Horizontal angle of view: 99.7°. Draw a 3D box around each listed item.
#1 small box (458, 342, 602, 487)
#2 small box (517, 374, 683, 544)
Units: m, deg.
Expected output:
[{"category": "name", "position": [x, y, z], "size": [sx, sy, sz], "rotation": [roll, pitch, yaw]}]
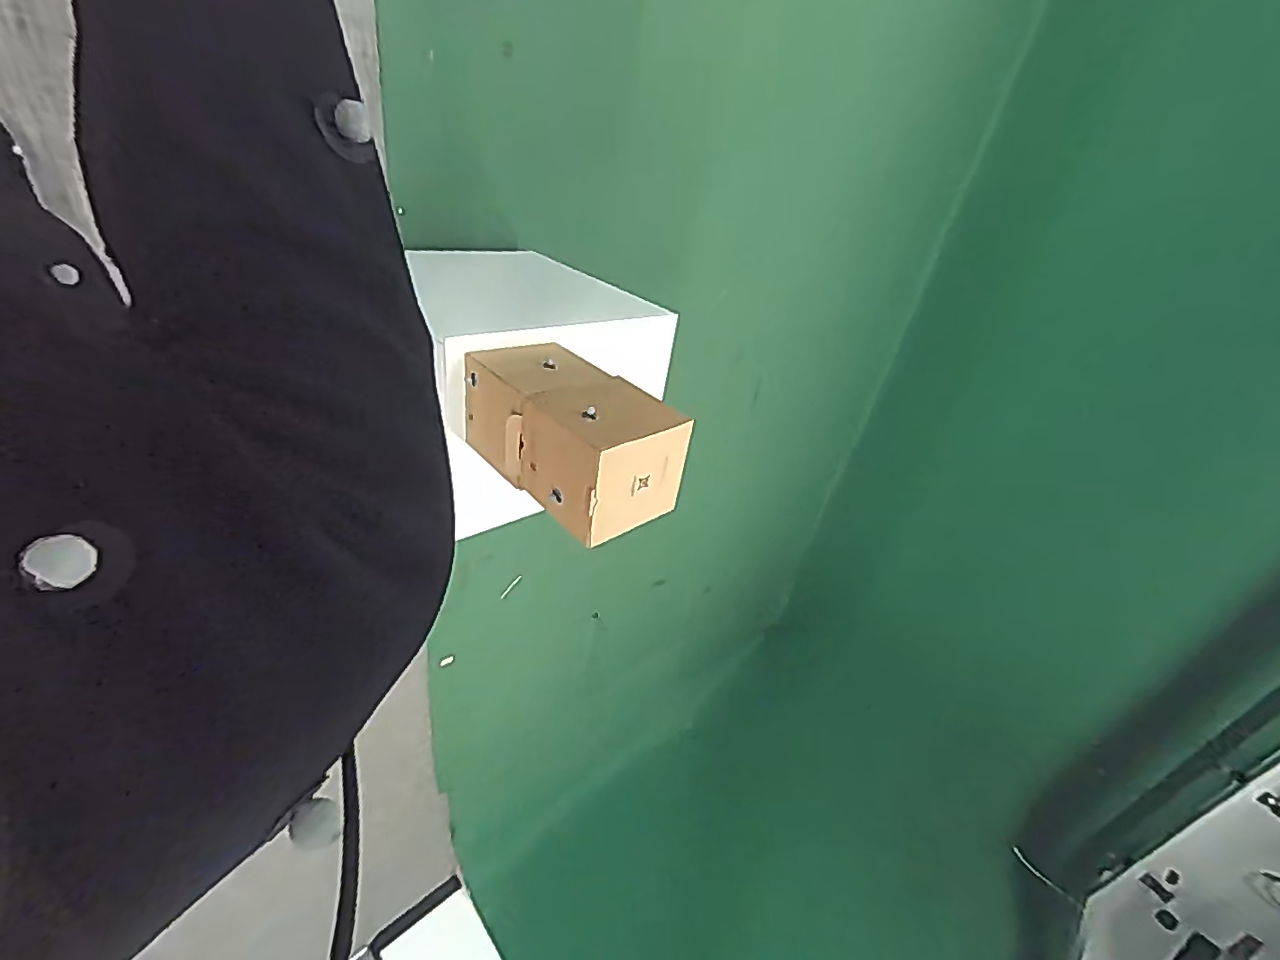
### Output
[{"category": "small box", "position": [-0.184, -0.116, 0.888], "size": [0.179, 0.176, 0.168], "rotation": [-21, 135, -41]}, {"category": "small box", "position": [-0.067, -0.040, 0.803], "size": [0.179, 0.176, 0.168], "rotation": [-24, 138, -39]}]
